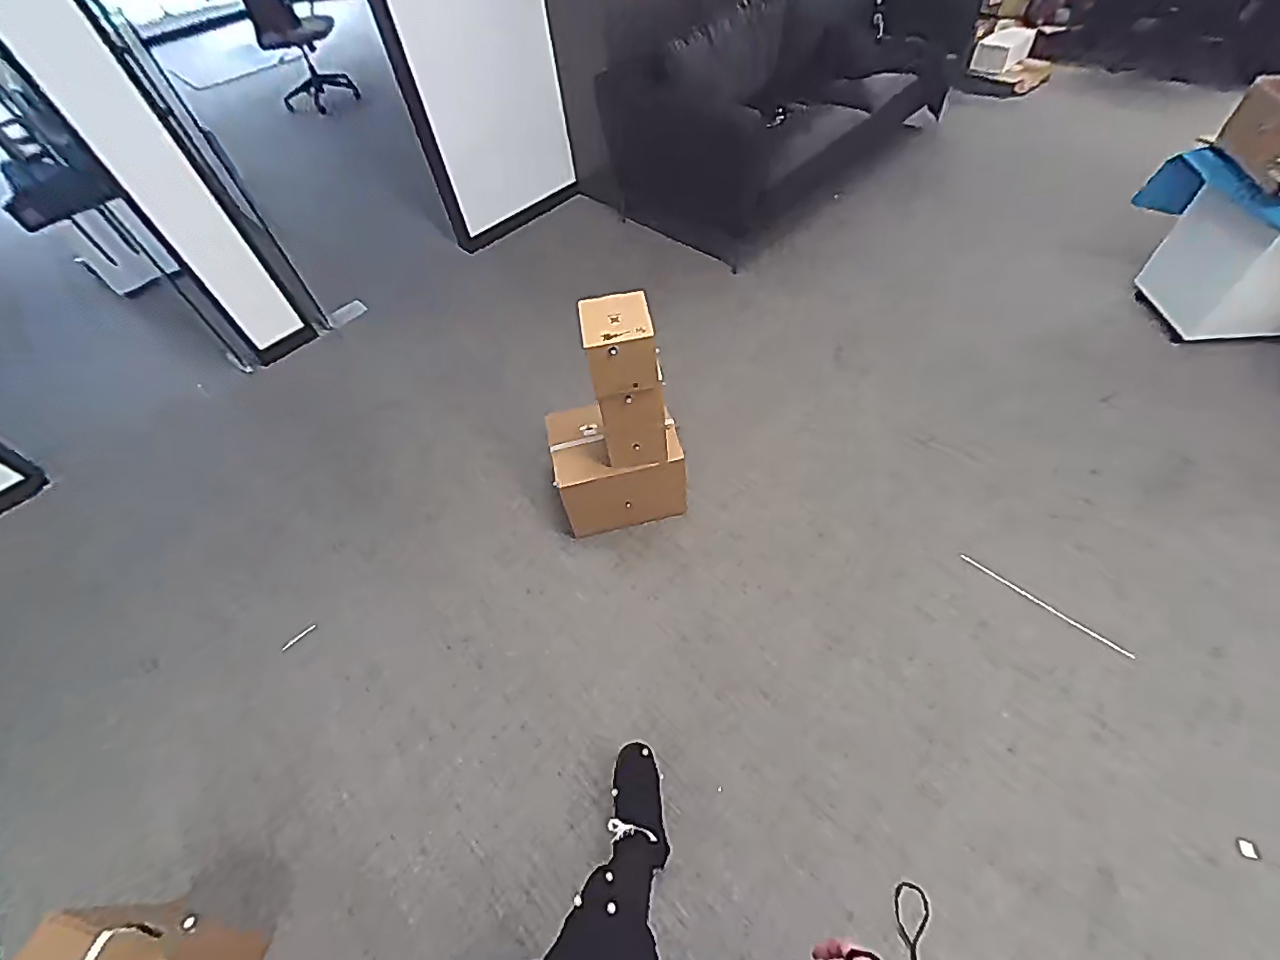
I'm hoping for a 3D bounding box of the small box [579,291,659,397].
[{"bbox_3d":[-0.051,-0.334,1.336,0.168,0.176,0.179,-11,54,0],"label":"small box"}]

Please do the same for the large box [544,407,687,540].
[{"bbox_3d":[-0.076,-0.042,1.836,0.408,0.320,0.320,-14,53,-3],"label":"large box"}]

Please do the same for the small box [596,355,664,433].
[{"bbox_3d":[-0.031,-0.252,1.477,0.179,0.176,0.168,-11,55,-1],"label":"small box"}]
